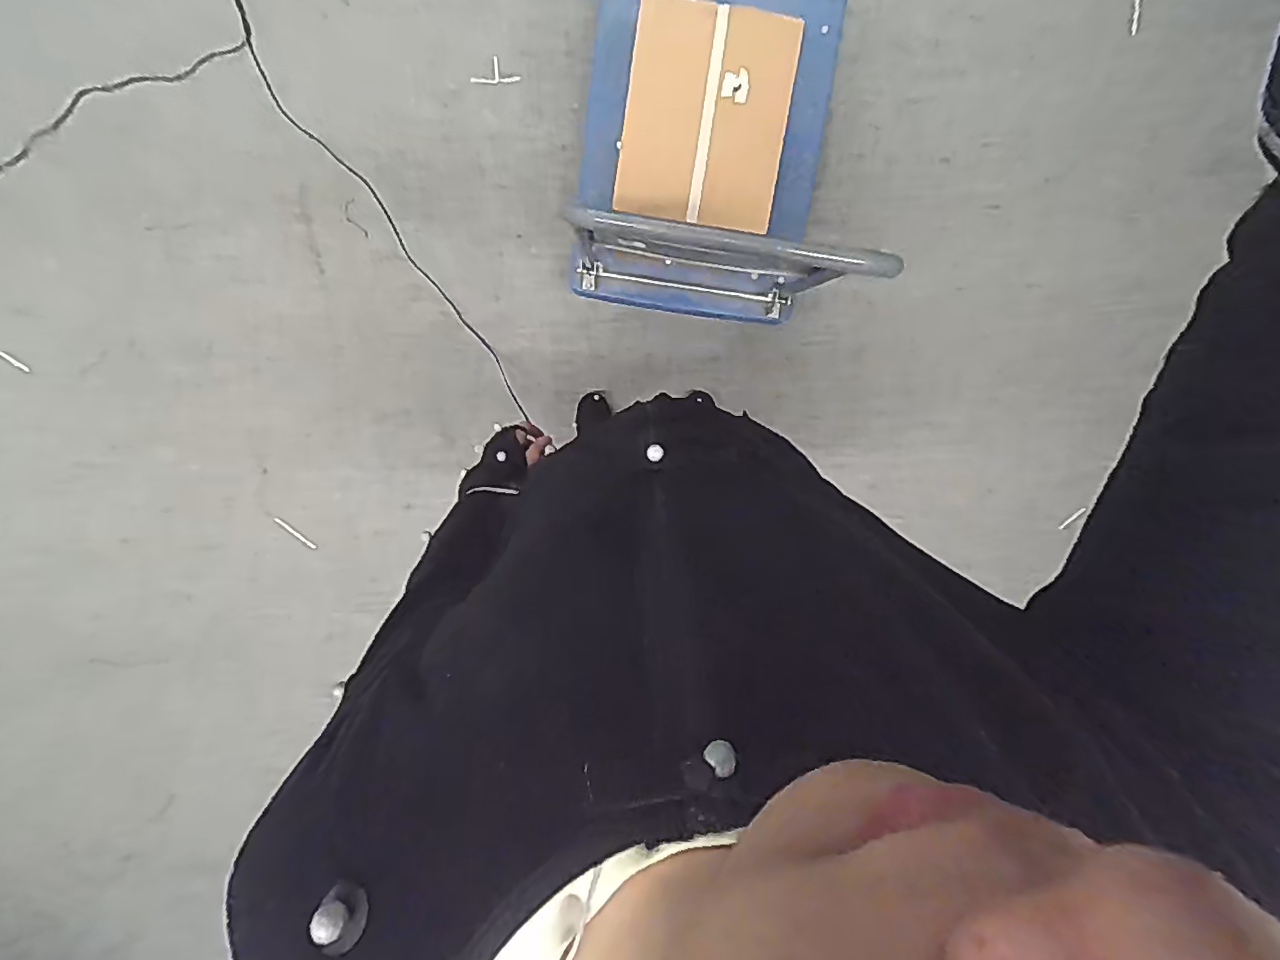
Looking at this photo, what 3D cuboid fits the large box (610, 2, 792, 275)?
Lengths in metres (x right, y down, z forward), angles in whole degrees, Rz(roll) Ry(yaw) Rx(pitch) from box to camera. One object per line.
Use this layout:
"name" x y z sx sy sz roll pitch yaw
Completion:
"large box" 0.114 -0.714 1.205 0.320 0.320 0.408 8 97 -3
